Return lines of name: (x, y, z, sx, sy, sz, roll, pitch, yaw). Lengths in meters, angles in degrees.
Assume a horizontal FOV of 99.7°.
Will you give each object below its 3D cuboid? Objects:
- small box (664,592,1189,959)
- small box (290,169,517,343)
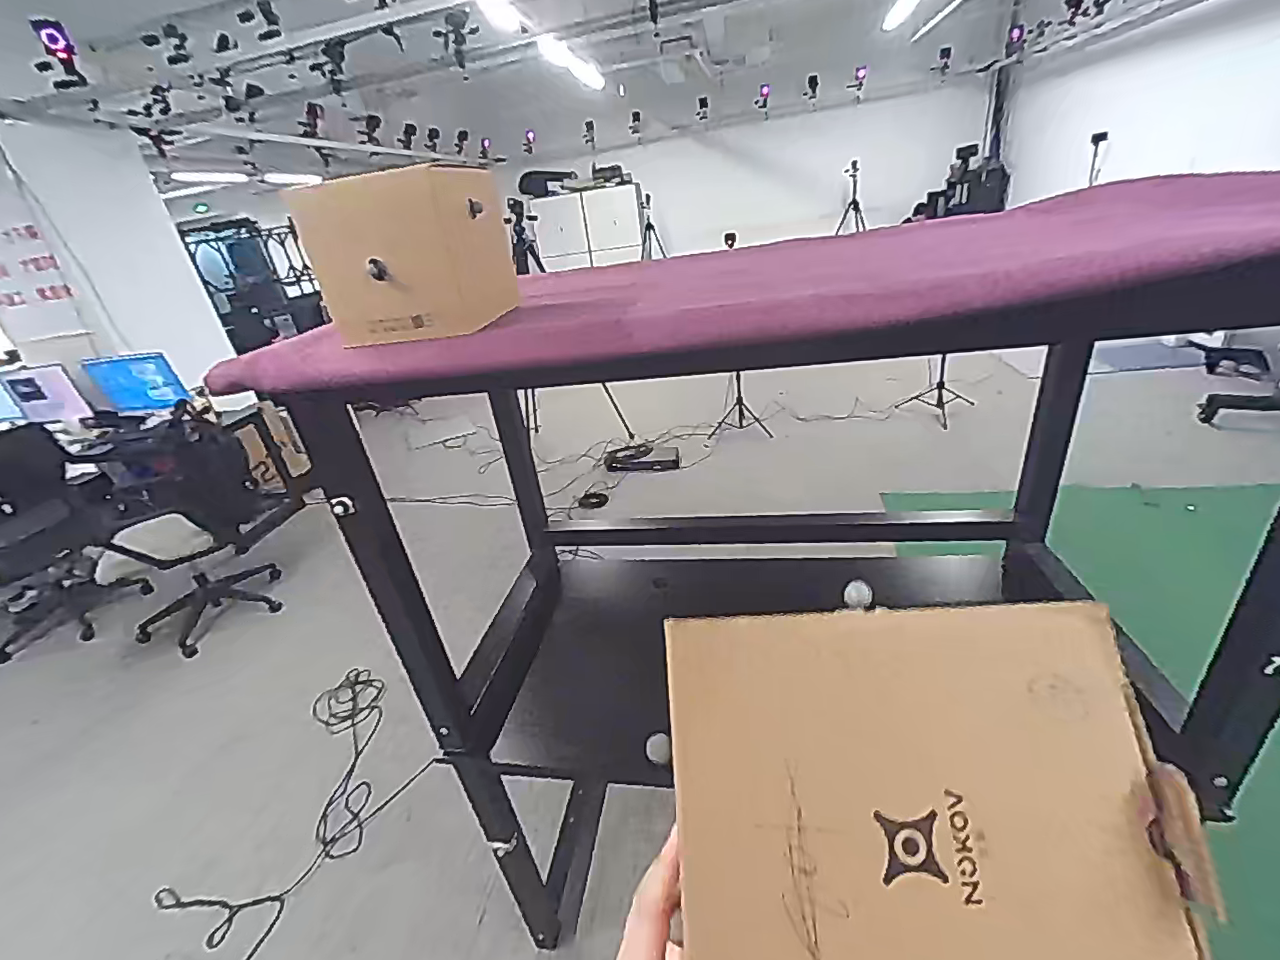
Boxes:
small box: (0.104, 0.147, 0.276, 0.179, 0.168, 0.176, -4, -17, 4)
small box: (-0.263, -0.266, 0.655, 0.168, 0.176, 0.179, -3, 27, 10)
